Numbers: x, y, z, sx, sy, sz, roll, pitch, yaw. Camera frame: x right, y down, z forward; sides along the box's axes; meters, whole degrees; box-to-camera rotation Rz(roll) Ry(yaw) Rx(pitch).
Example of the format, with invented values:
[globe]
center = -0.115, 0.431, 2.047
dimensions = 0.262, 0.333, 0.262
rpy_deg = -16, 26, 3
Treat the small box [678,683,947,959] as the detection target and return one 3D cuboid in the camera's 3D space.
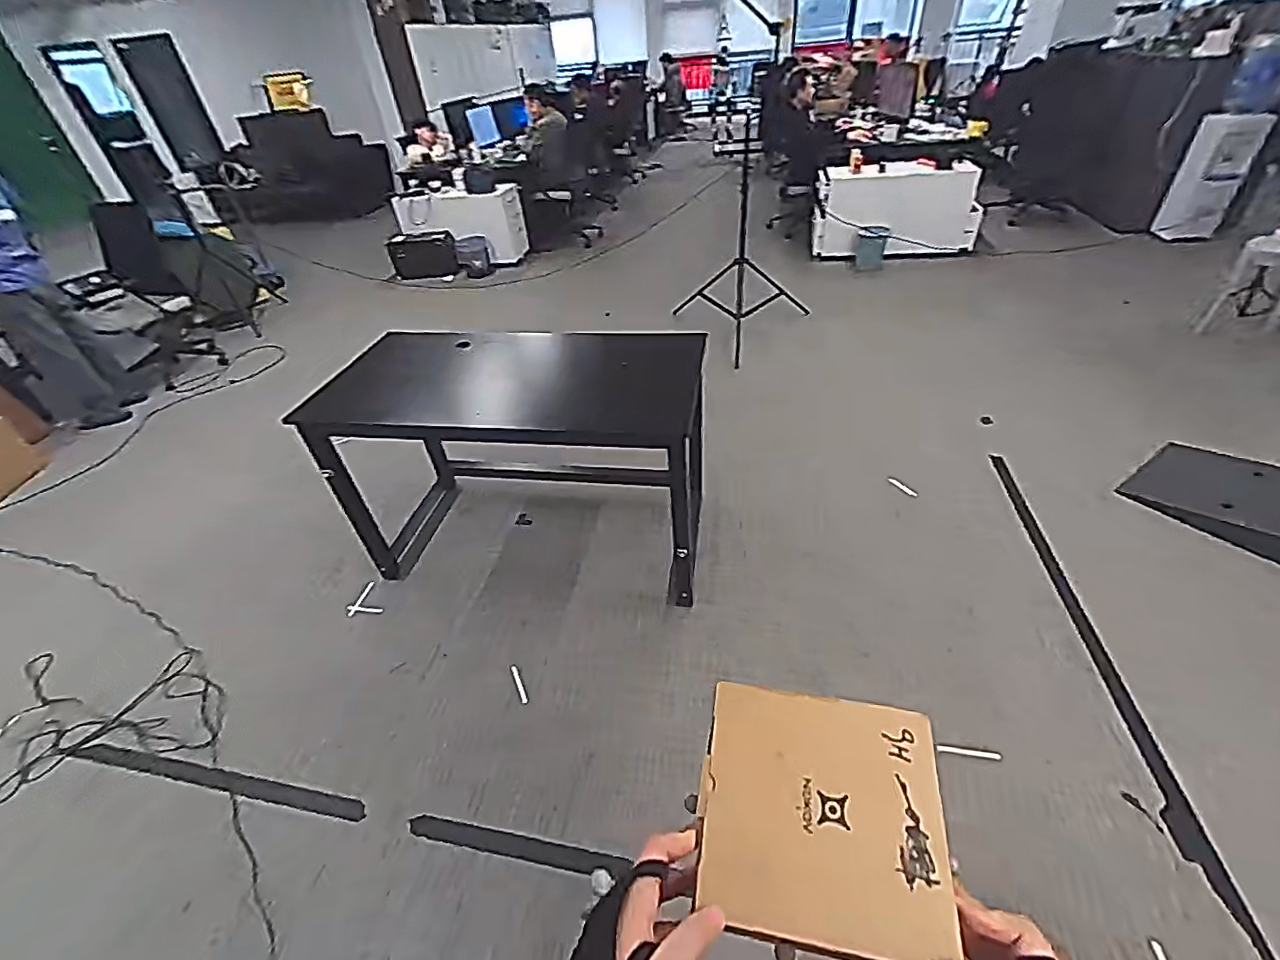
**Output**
[small box]
center = 0.133, 0.298, 0.467
dimensions = 0.179, 0.176, 0.168
rpy_deg = 5, 50, 11
